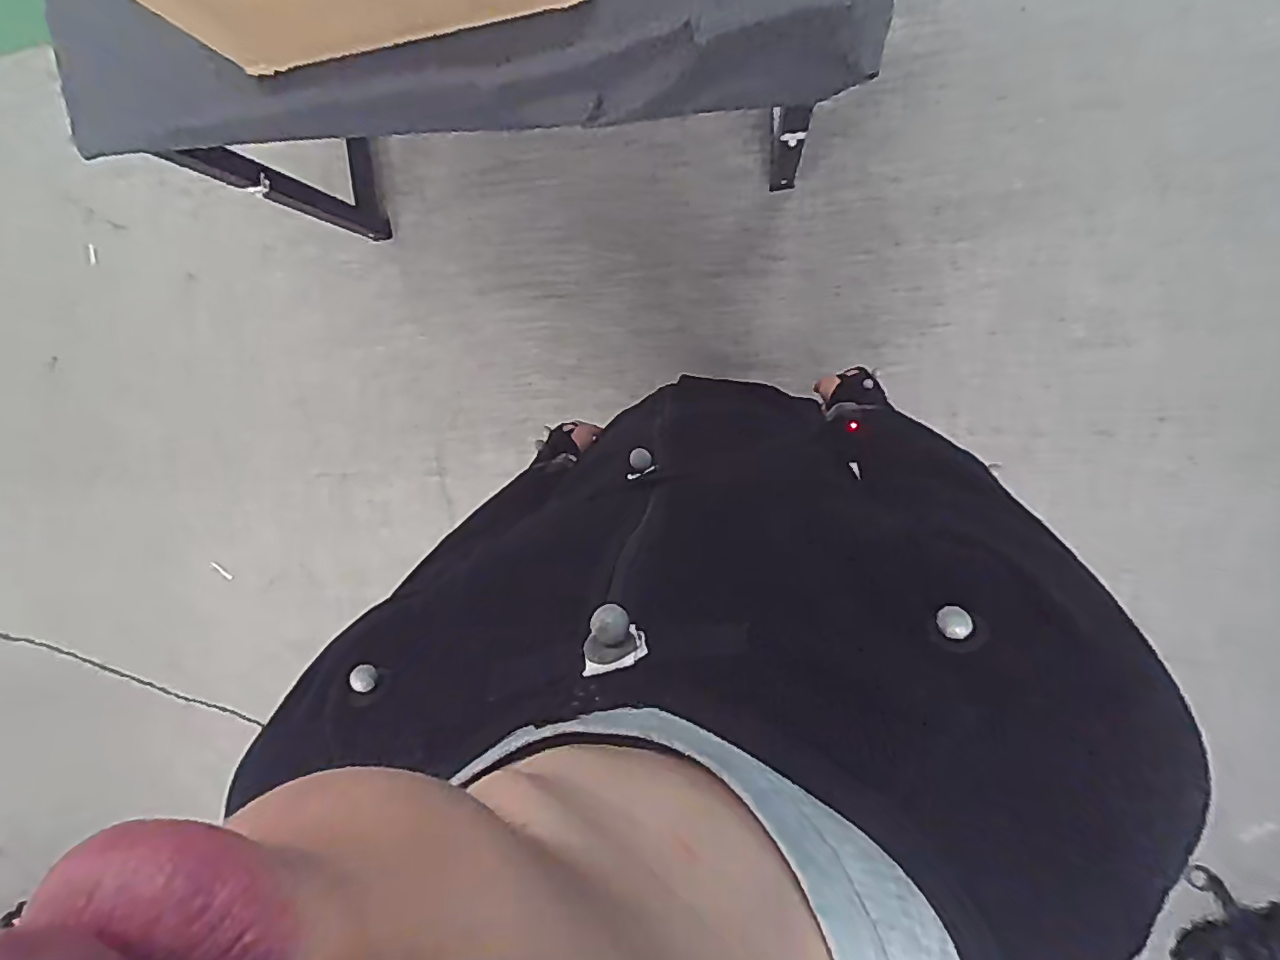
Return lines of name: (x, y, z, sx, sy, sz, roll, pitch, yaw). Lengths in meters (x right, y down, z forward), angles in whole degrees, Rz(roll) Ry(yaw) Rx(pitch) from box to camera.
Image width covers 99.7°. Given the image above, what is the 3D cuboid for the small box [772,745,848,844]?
small box: (0.486, 0.903, 1.570, 0.179, 0.176, 0.168, 9, 101, 10)
